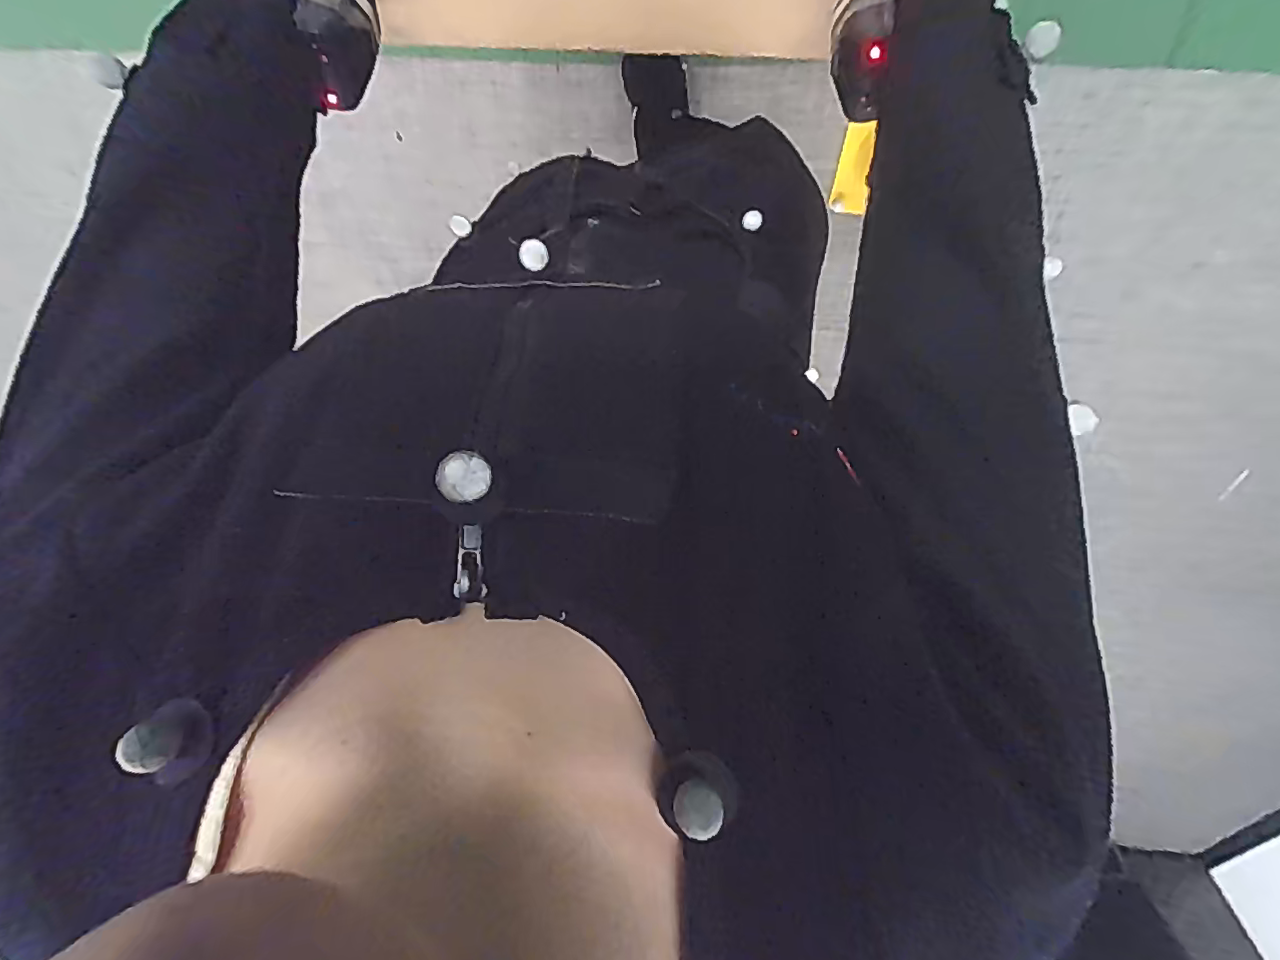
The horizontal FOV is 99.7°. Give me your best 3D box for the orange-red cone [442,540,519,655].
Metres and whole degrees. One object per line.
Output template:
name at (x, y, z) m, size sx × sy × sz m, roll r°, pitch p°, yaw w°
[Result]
orange-red cone at (-0.546, 0.396, 1.718) m, size 0.199 × 0.360 × 0.198 m, roll 21°, pitch 126°, yaw -8°
